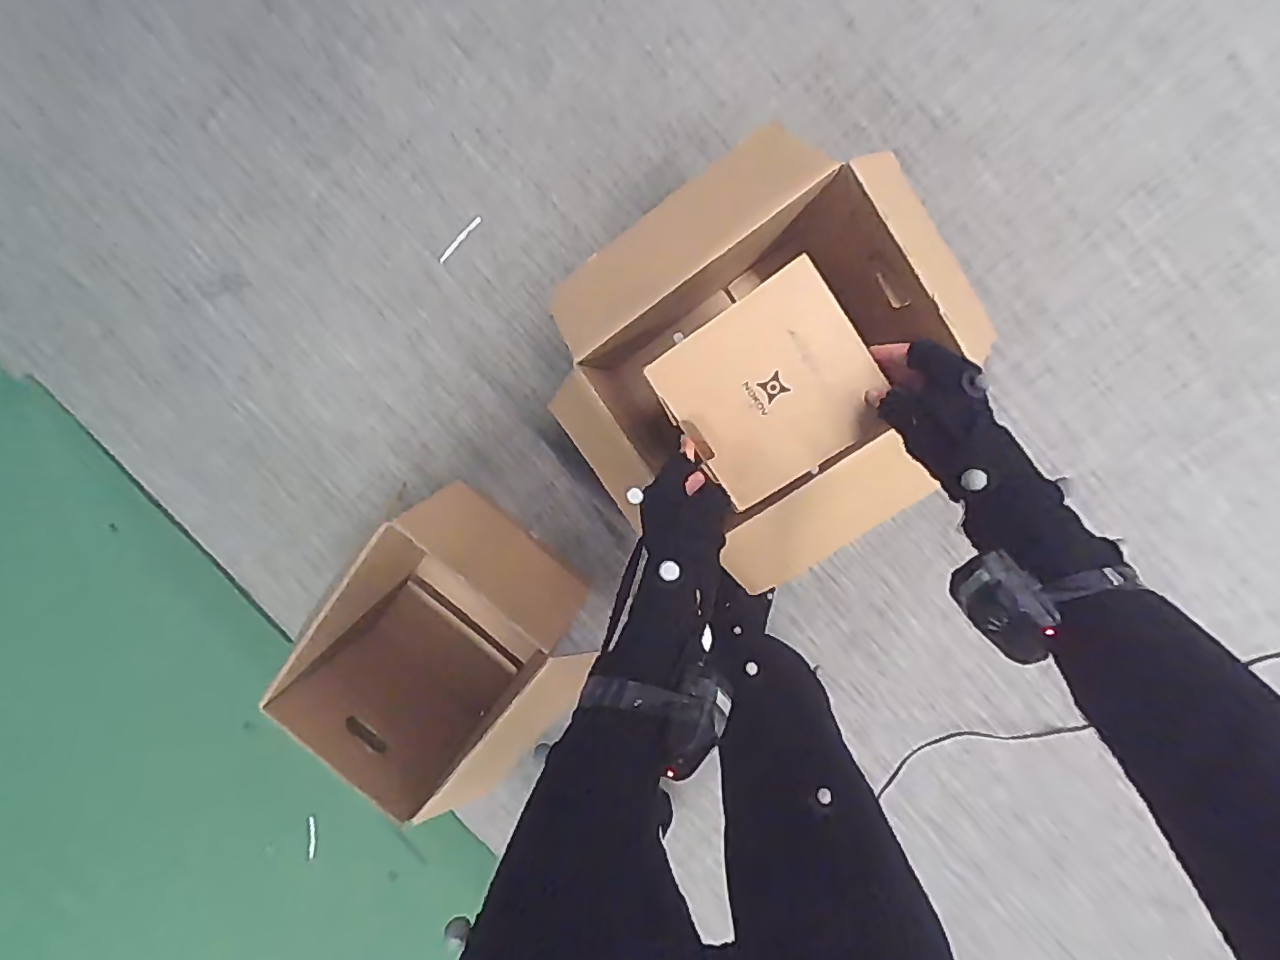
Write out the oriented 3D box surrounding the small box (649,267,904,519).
[{"bbox_3d":[0.132,-0.088,0.571,0.179,0.176,0.168,-36,95,11],"label":"small box"}]
